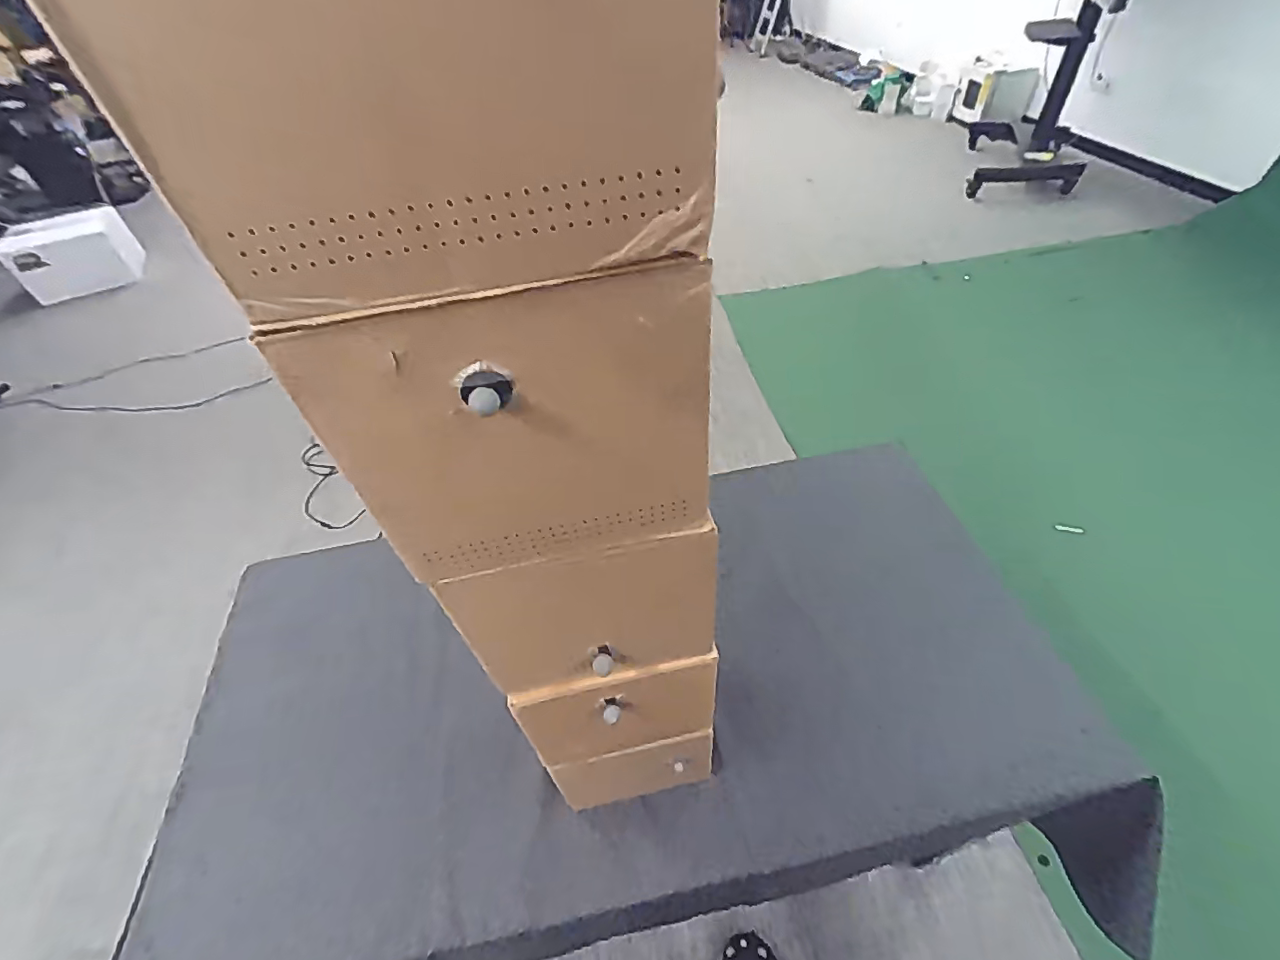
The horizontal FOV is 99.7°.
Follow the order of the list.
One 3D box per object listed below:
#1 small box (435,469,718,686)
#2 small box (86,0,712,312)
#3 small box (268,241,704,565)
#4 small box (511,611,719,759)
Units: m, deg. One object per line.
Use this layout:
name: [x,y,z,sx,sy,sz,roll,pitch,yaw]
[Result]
small box: [-0.045,0.044,0.438,0.179,0.176,0.168,-10,46,-4]
small box: [-0.074,-0.181,0.202,0.179,0.176,0.168,-10,48,-2]
small box: [-0.064,-0.070,0.321,0.179,0.176,0.168,-11,47,-5]
small box: [-0.028,0.160,0.553,0.179,0.176,0.168,-12,47,-5]
